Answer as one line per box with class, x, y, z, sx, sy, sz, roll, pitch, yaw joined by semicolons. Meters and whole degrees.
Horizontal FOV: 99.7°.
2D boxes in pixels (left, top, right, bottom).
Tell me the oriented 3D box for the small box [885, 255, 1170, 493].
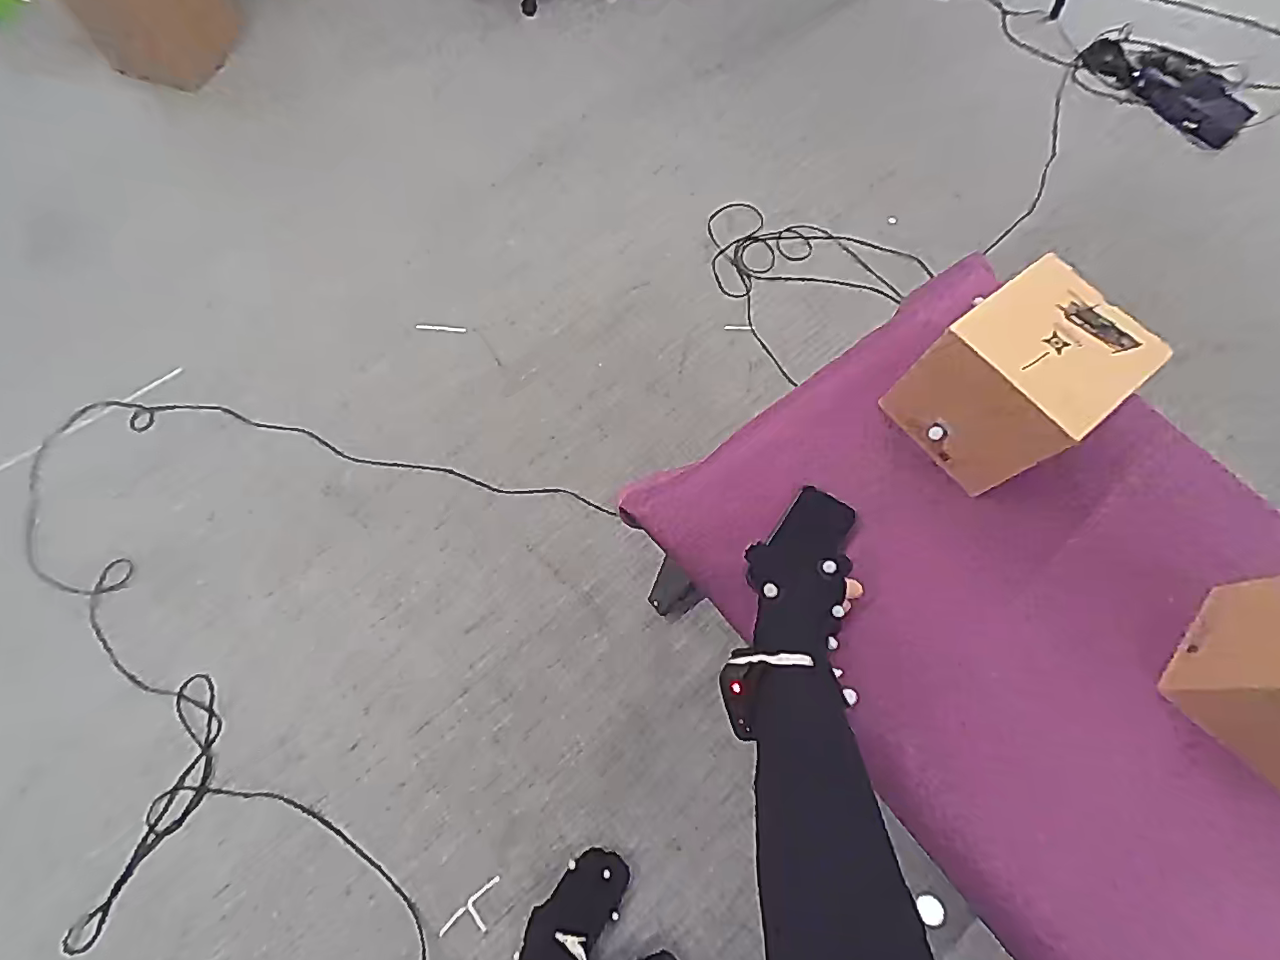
small box;0.430;-0.114;0.632;0.179;0.176;0.168;-35;74;-14
